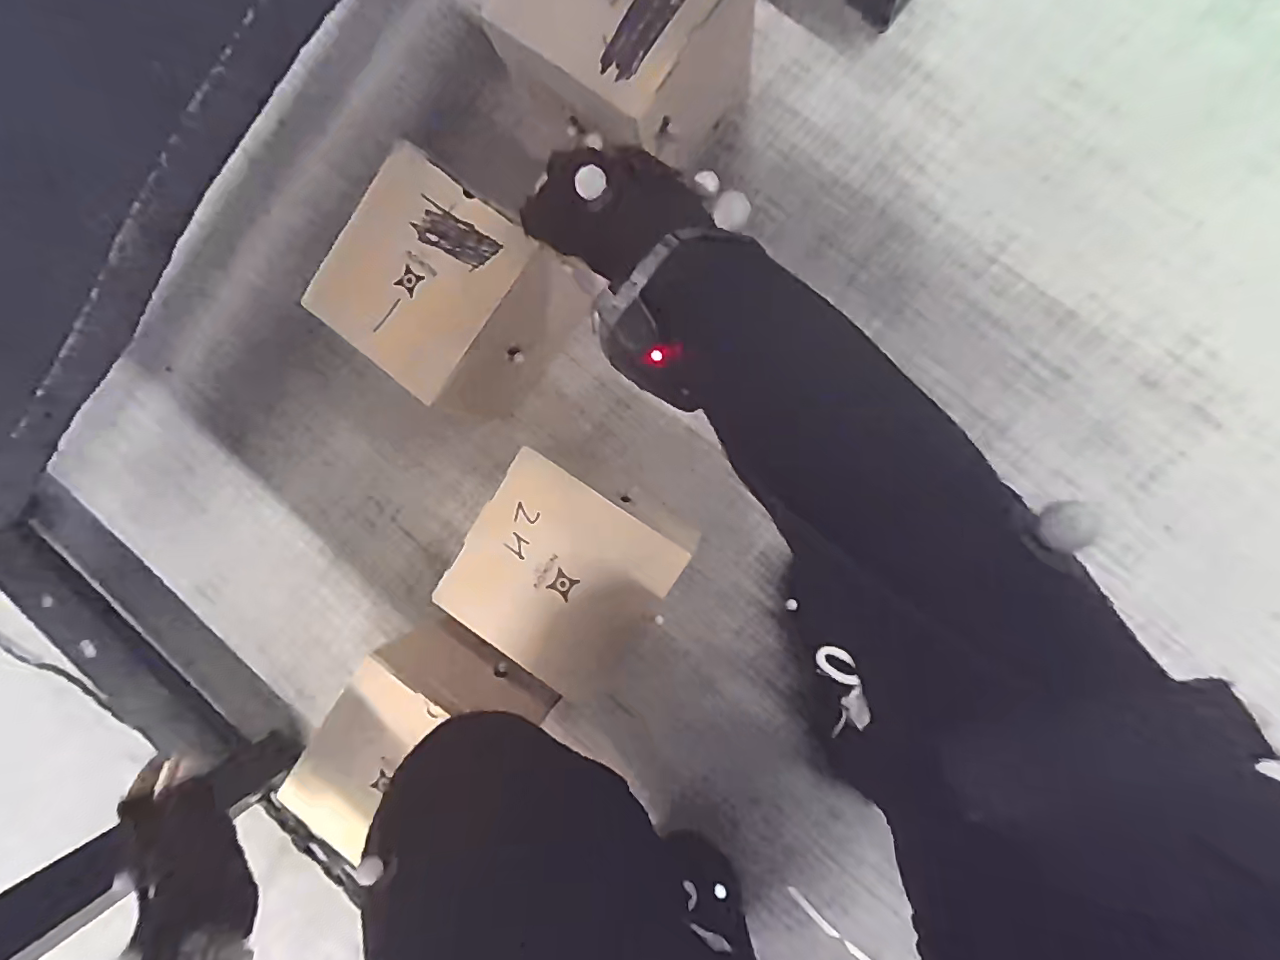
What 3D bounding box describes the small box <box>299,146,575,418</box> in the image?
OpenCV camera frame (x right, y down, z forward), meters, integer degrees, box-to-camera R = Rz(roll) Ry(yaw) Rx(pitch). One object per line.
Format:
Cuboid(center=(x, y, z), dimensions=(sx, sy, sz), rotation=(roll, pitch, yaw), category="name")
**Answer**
Cuboid(center=(-0.185, -0.180, 0.552), dimensions=(0.168, 0.176, 0.179), rotation=(40, 100, 4), category="small box")
